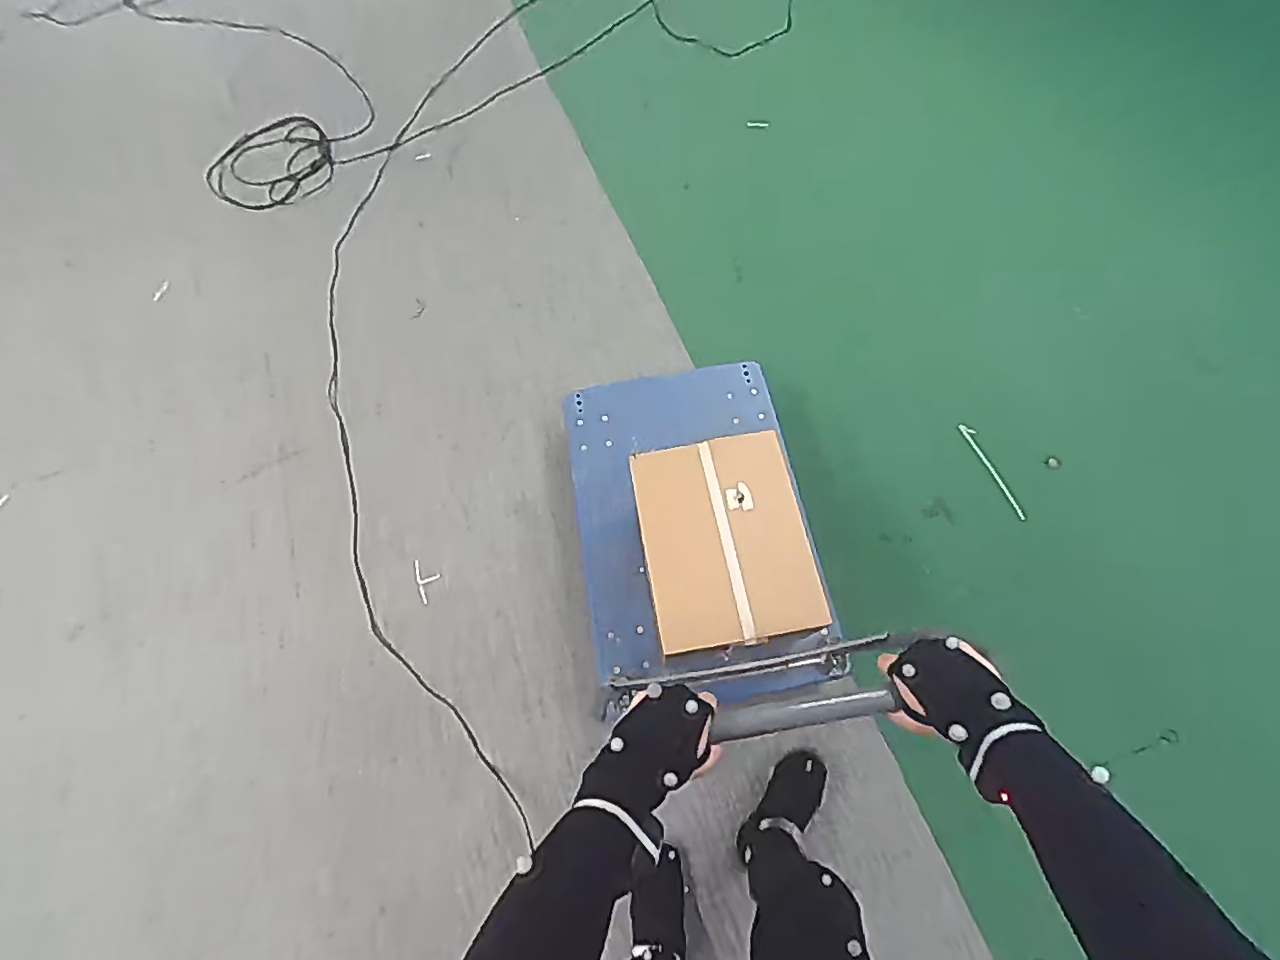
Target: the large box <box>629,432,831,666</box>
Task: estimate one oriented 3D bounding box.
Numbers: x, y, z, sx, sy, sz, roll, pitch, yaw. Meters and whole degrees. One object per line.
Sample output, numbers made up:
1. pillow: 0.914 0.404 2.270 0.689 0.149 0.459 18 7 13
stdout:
1. large box: 0.172 0.164 1.189 0.320 0.320 0.408 -10 66 -2
